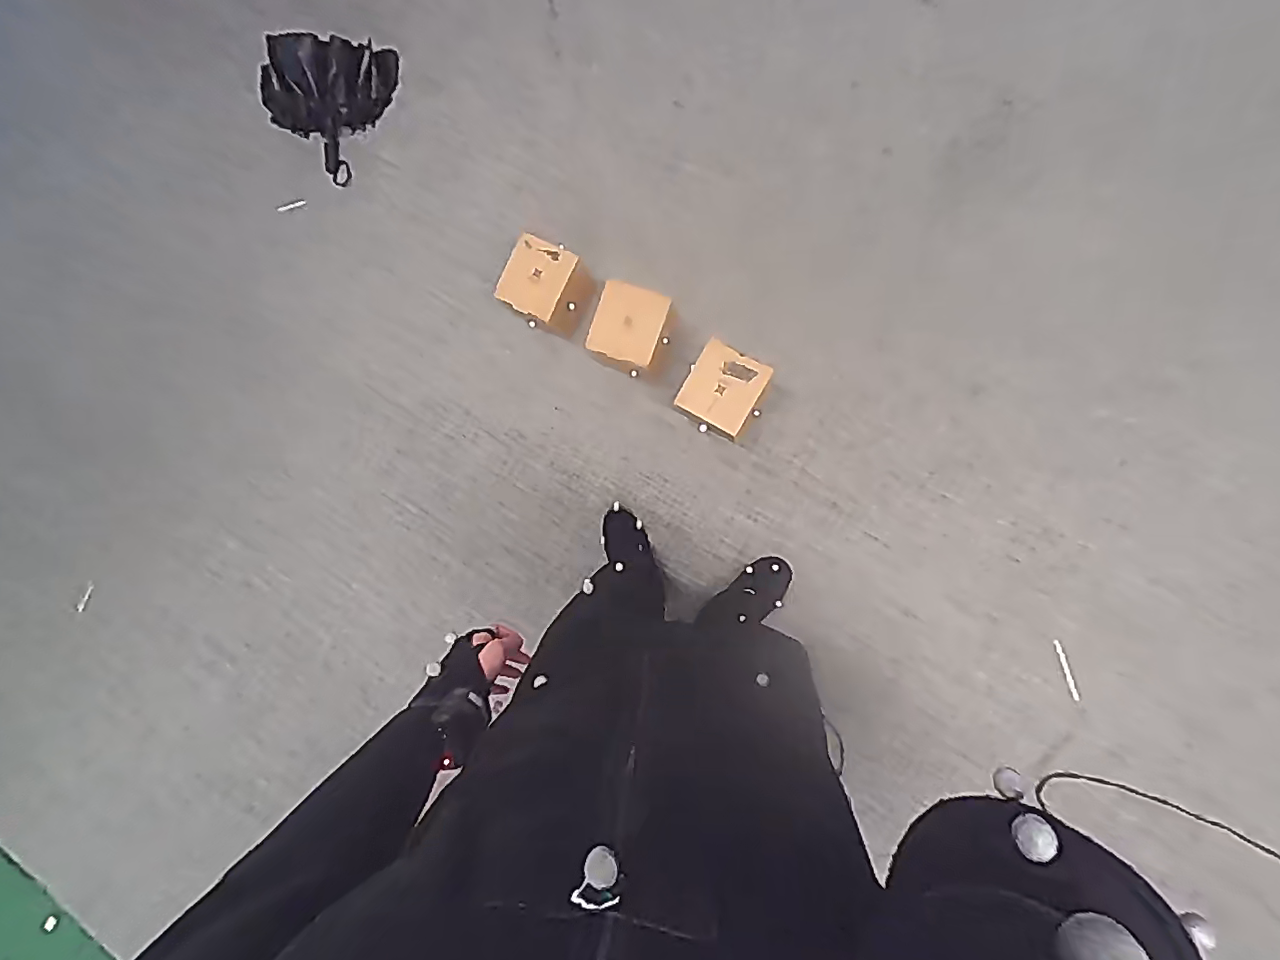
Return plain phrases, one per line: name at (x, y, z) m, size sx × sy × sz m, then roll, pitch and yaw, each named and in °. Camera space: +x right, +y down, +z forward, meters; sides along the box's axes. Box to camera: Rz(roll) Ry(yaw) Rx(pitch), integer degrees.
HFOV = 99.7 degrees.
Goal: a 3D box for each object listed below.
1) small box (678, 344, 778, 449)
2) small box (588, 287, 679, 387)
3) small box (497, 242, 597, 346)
small box at (0.209, -0.192, 1.291) m, size 0.168 × 0.176 × 0.179 m, roll 30°, pitch 94°, yaw 12°
small box at (-0.009, -0.346, 1.345) m, size 0.168 × 0.176 × 0.179 m, roll 19°, pitch 89°, yaw 10°
small box at (-0.230, -0.469, 1.393) m, size 0.168 × 0.176 × 0.179 m, roll 27°, pitch 93°, yaw 11°
